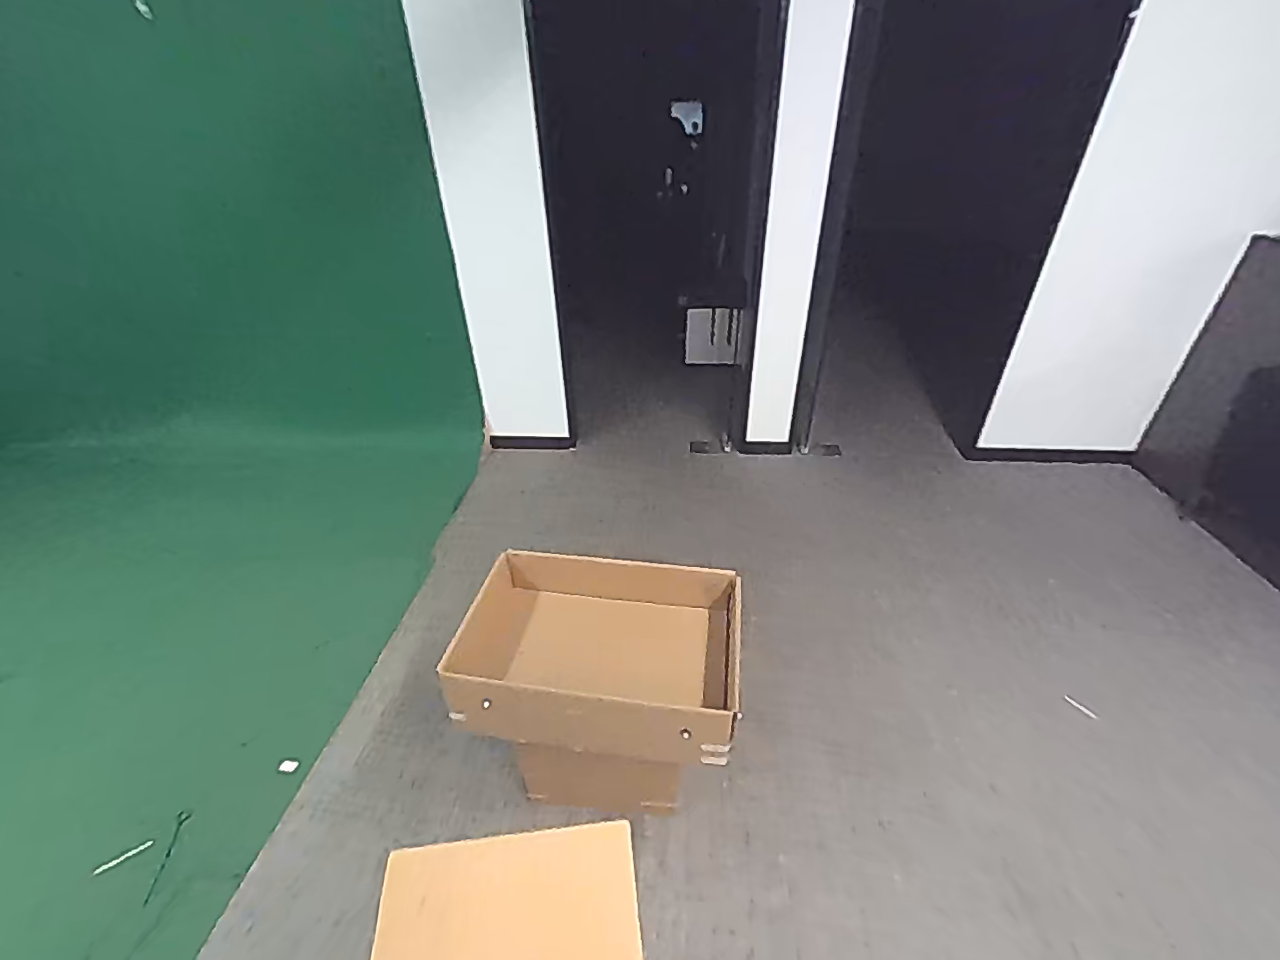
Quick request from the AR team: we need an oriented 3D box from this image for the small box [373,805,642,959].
[{"bbox_3d":[-0.085,0.358,0.378,0.168,0.176,0.179,-2,44,-8],"label":"small box"}]
